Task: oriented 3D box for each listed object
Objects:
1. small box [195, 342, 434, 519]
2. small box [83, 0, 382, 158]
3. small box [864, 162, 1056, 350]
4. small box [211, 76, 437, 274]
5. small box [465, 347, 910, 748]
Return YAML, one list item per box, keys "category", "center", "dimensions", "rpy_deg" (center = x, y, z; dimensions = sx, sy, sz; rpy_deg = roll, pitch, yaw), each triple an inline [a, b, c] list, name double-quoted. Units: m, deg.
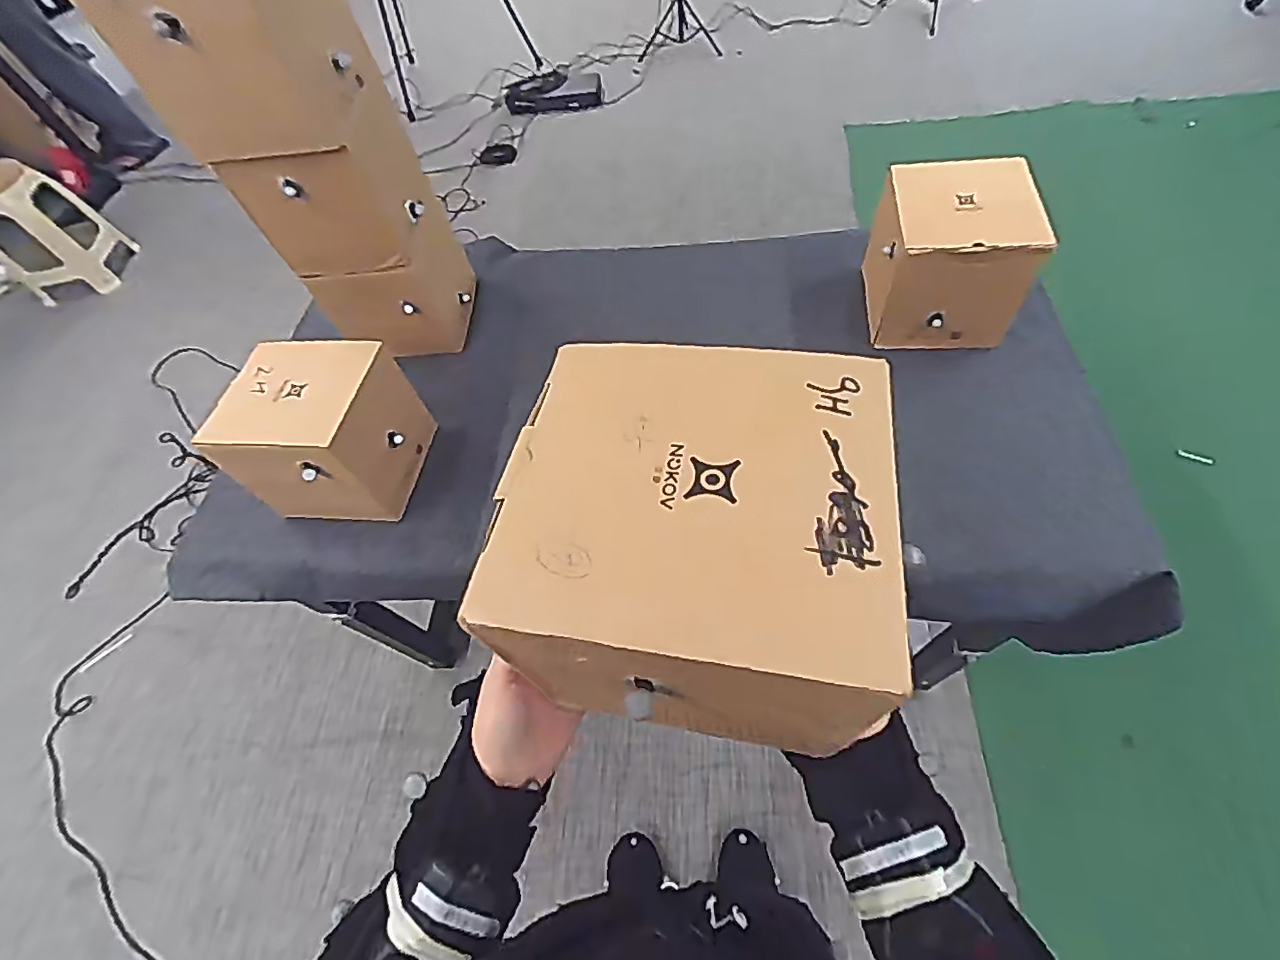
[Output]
- category: "small box"
  center: [-0.399, -0.059, 0.704]
  dimensions: [0.179, 0.176, 0.168]
  rpy_deg: [2, 56, 9]
- category: "small box"
  center: [-0.416, -0.471, 0.575]
  dimensions: [0.179, 0.176, 0.168]
  rpy_deg: [-1, 61, 6]
- category: "small box"
  center: [0.415, -0.301, 0.740]
  dimensions: [0.168, 0.176, 0.179]
  rpy_deg: [2, 61, 10]
- category: "small box"
  center: [-0.400, -0.396, 0.721]
  dimensions: [0.179, 0.176, 0.168]
  rpy_deg: [-3, 61, 5]
- category: "small box"
  center: [0.035, 0.044, 0.313]
  dimensions: [0.179, 0.176, 0.168]
  rpy_deg: [5, 58, 12]
